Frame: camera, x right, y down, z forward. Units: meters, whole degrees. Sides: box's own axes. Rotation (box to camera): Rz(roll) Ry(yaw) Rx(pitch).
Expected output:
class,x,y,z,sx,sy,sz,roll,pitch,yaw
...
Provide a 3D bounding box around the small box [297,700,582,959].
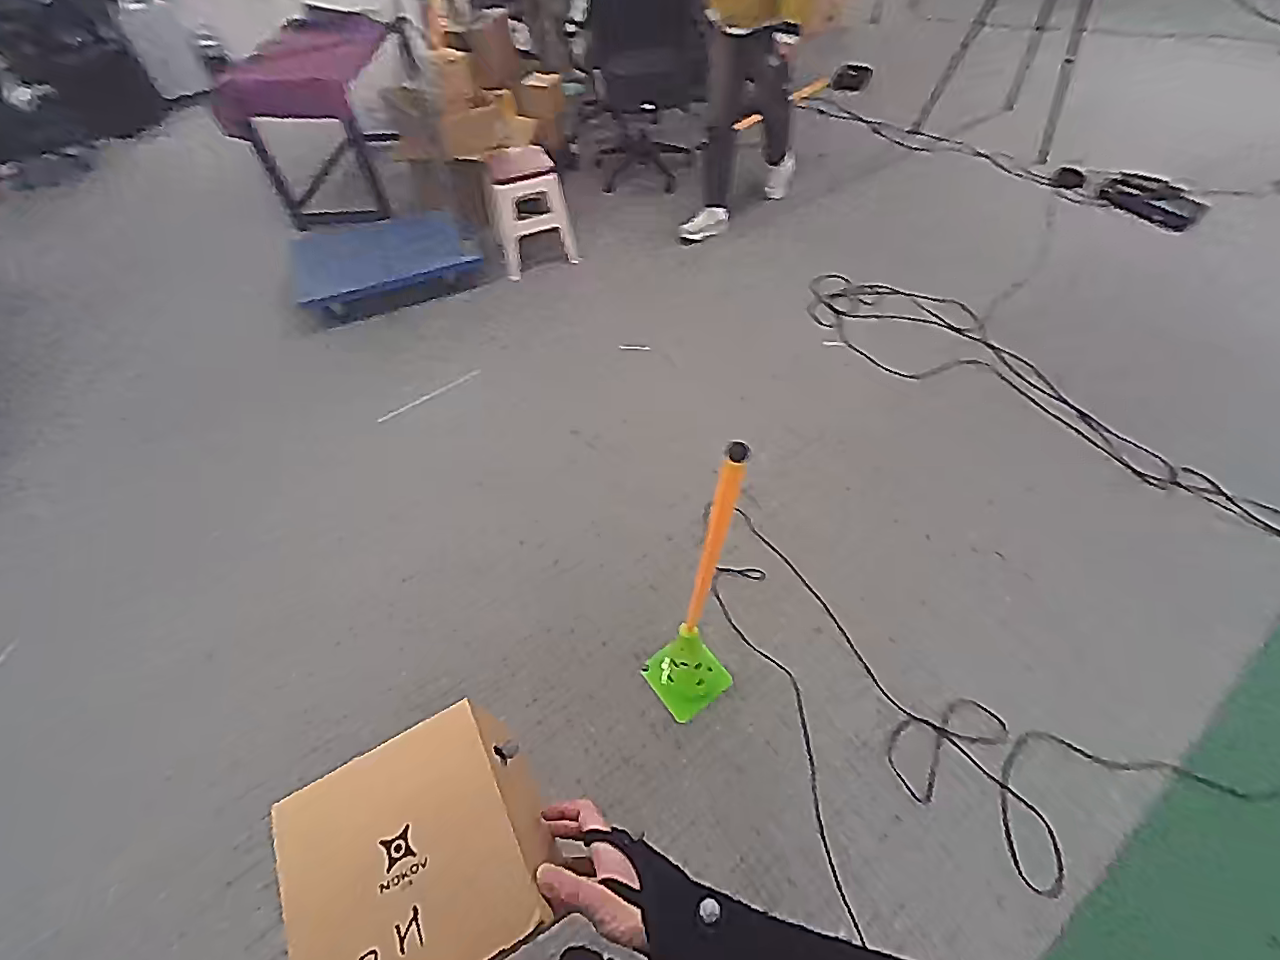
class,x,y,z,sx,sy,sz,roll,pitch,yaw
small box,-0.165,0.331,0.477,0.168,0.176,0.179,-24,57,-12

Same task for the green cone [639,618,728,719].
class,x,y,z,sx,sy,sz,roll,pitch,yaw
green cone,0.122,0.459,1.433,0.202,0.368,0.200,-32,59,-20
